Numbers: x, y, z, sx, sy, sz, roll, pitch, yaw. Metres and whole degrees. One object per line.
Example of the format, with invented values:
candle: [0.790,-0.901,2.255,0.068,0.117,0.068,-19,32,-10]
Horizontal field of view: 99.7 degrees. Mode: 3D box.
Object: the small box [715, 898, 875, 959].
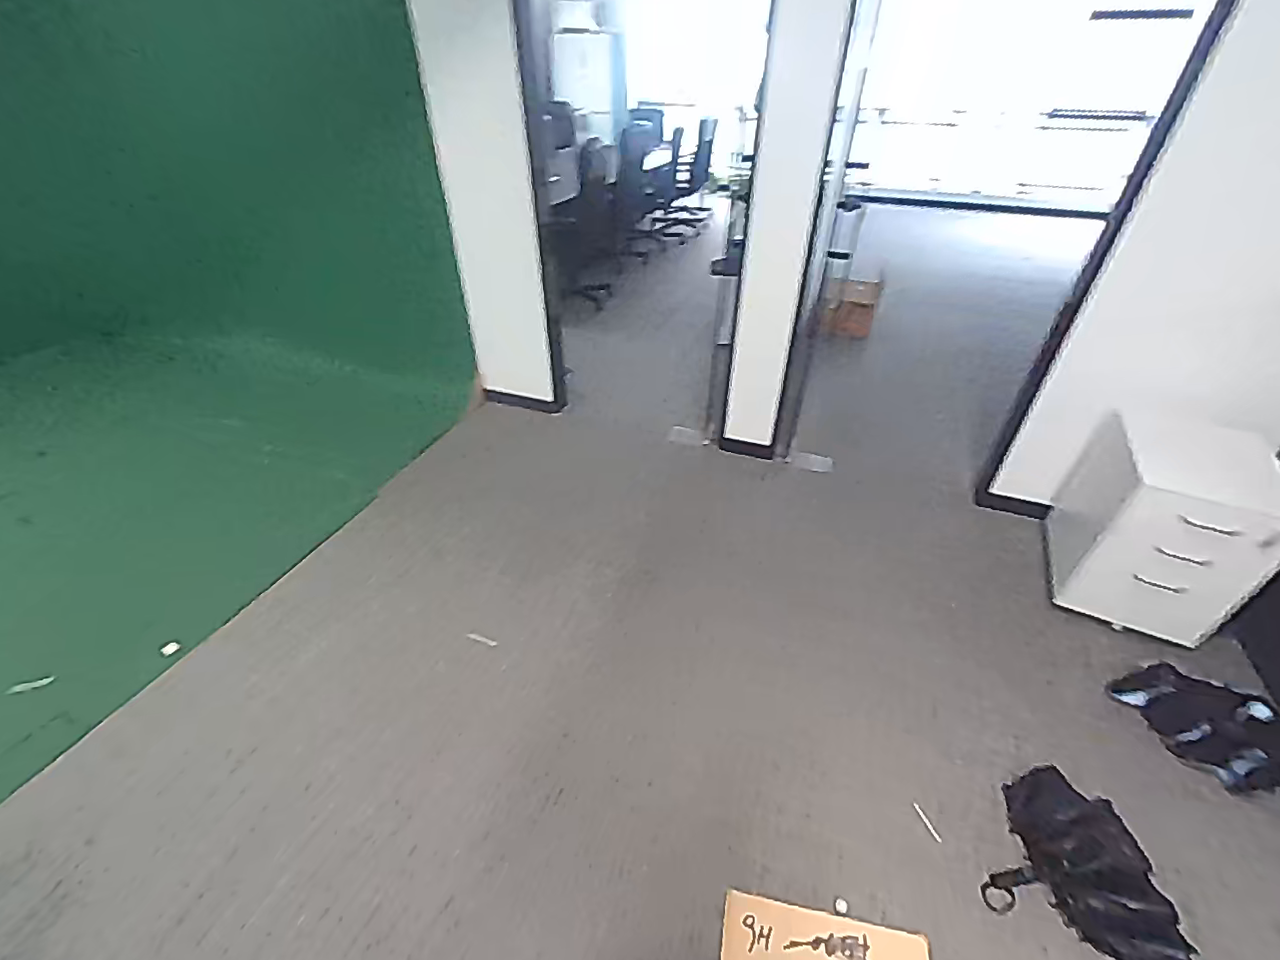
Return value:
small box: [0.164,0.593,0.595,0.168,0.176,0.179,3,47,11]
